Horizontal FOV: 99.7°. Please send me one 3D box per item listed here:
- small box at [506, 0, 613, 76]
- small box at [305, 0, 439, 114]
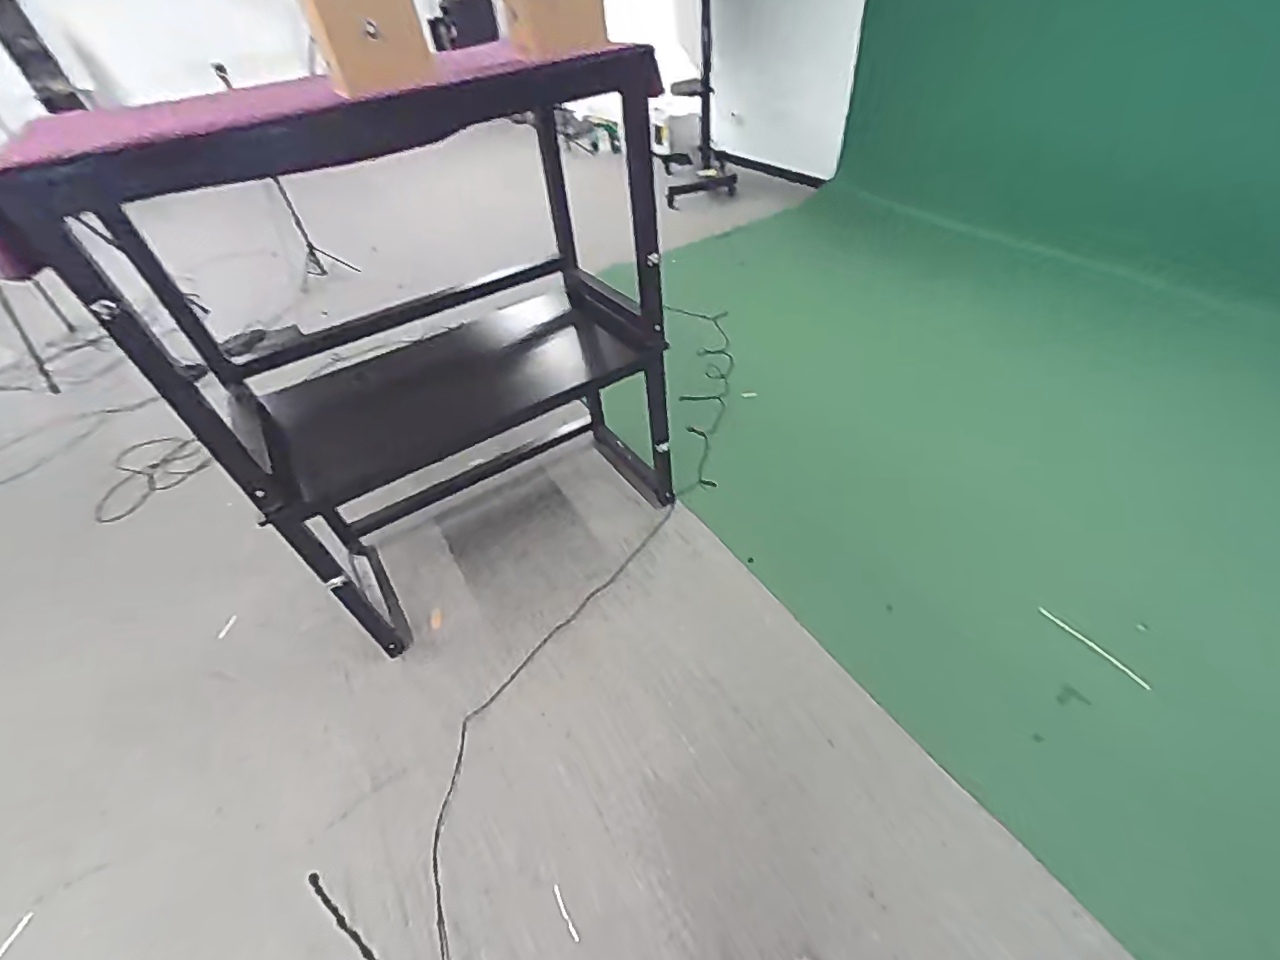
[{"bbox_3d":[-0.176,-0.996,1.170,0.179,0.176,0.168,-24,47,-16],"label":"small box"},{"bbox_3d":[-0.510,-0.835,1.049,0.179,0.176,0.168,-27,46,-18],"label":"small box"}]
